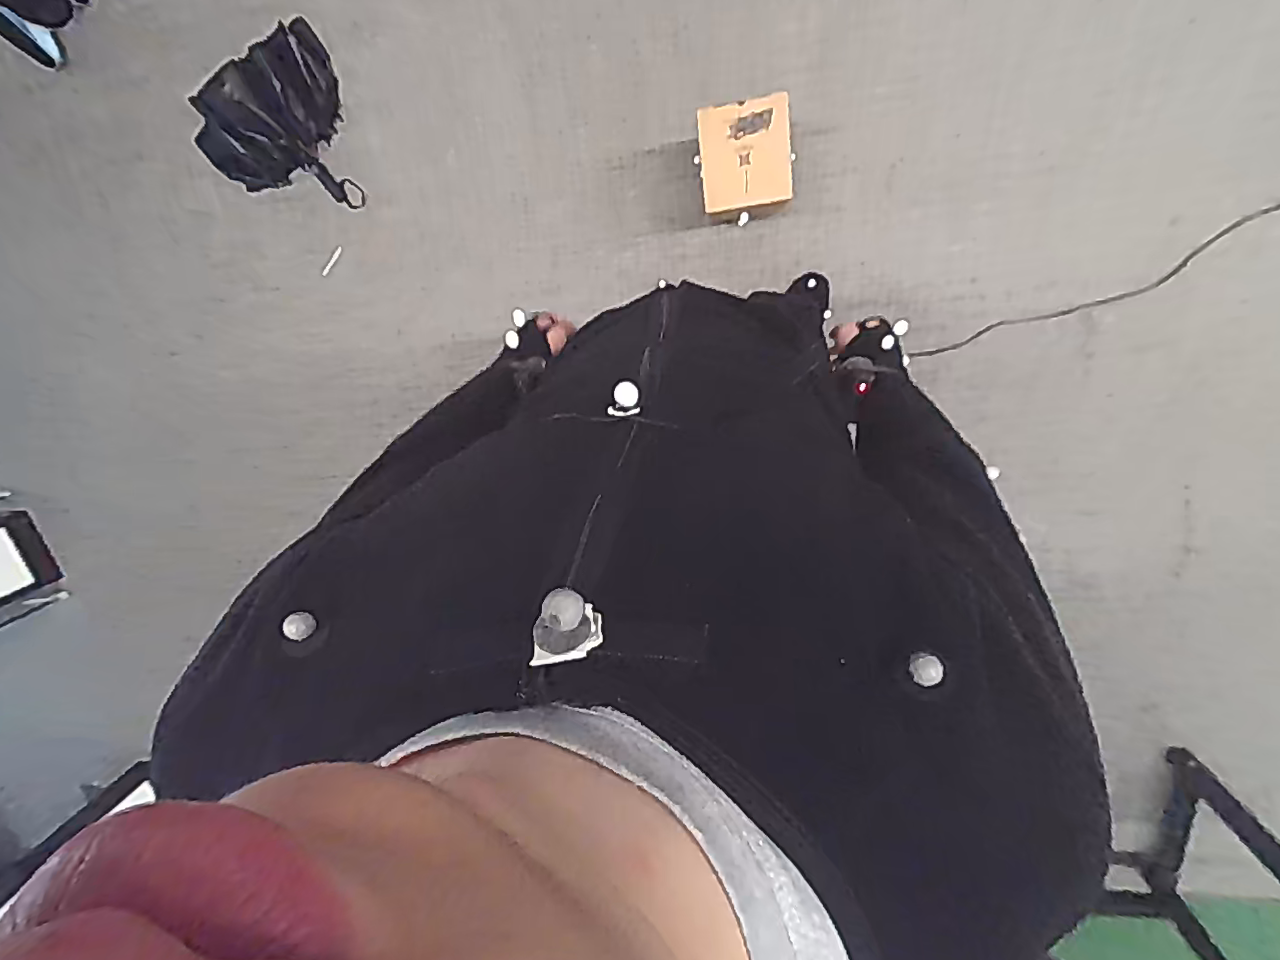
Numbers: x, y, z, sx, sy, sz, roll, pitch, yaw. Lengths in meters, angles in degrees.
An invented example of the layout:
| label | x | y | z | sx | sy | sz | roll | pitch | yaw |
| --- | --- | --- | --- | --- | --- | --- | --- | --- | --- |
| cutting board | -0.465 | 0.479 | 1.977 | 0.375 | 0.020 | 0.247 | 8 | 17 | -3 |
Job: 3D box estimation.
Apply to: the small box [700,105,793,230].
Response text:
| label | x | y | z | sx | sy | sz | roll | pitch | yaw |
| --- | --- | --- | --- | --- | --- | --- | --- | --- | --- |
| small box | 0.211 | -0.614 | 1.084 | 0.168 | 0.176 | 0.179 | -5 | 110 | 12 |
